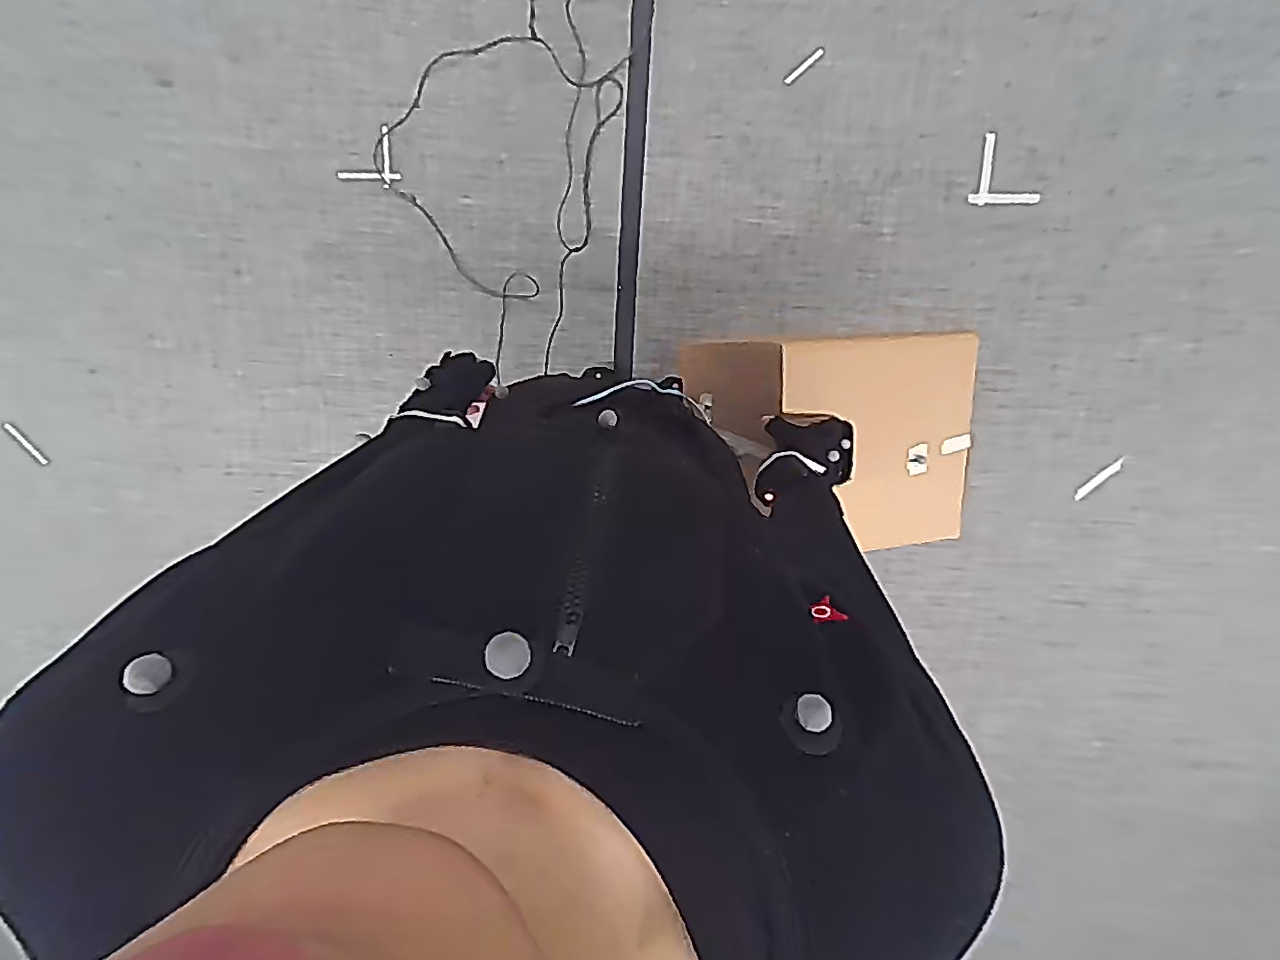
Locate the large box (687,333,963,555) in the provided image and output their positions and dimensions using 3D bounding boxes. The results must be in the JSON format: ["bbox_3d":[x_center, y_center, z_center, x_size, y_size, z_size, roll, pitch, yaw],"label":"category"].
[{"bbox_3d":[0.296,-0.092,0.974,0.320,0.408,0.320,-5,105,-12],"label":"large box"}]
